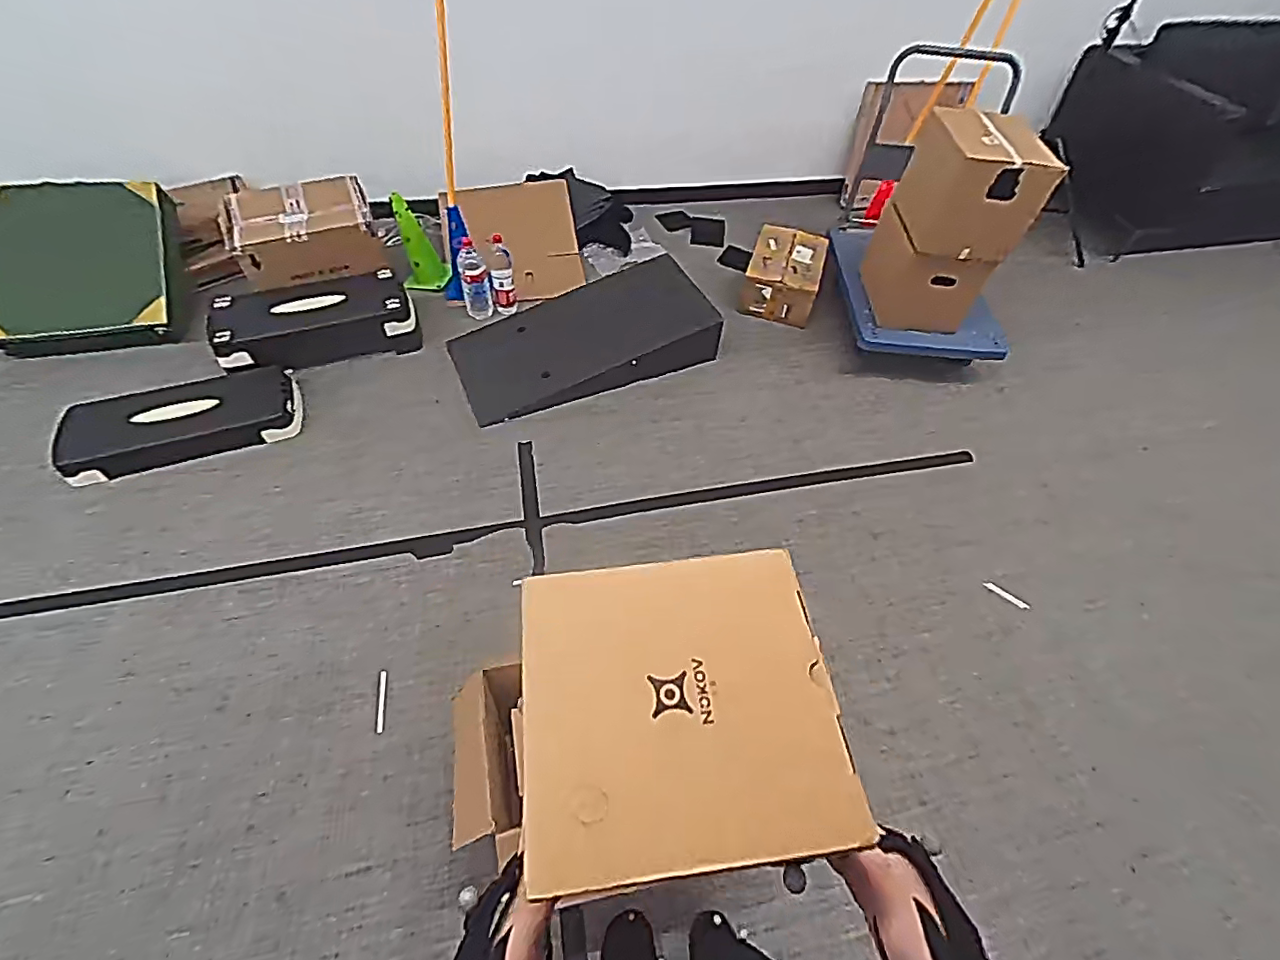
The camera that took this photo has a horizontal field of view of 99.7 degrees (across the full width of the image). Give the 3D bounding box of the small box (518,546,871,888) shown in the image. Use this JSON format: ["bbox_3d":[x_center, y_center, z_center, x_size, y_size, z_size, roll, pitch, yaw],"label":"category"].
[{"bbox_3d":[0.019,0.164,0.370,0.179,0.176,0.168,-6,56,-6],"label":"small box"}]
